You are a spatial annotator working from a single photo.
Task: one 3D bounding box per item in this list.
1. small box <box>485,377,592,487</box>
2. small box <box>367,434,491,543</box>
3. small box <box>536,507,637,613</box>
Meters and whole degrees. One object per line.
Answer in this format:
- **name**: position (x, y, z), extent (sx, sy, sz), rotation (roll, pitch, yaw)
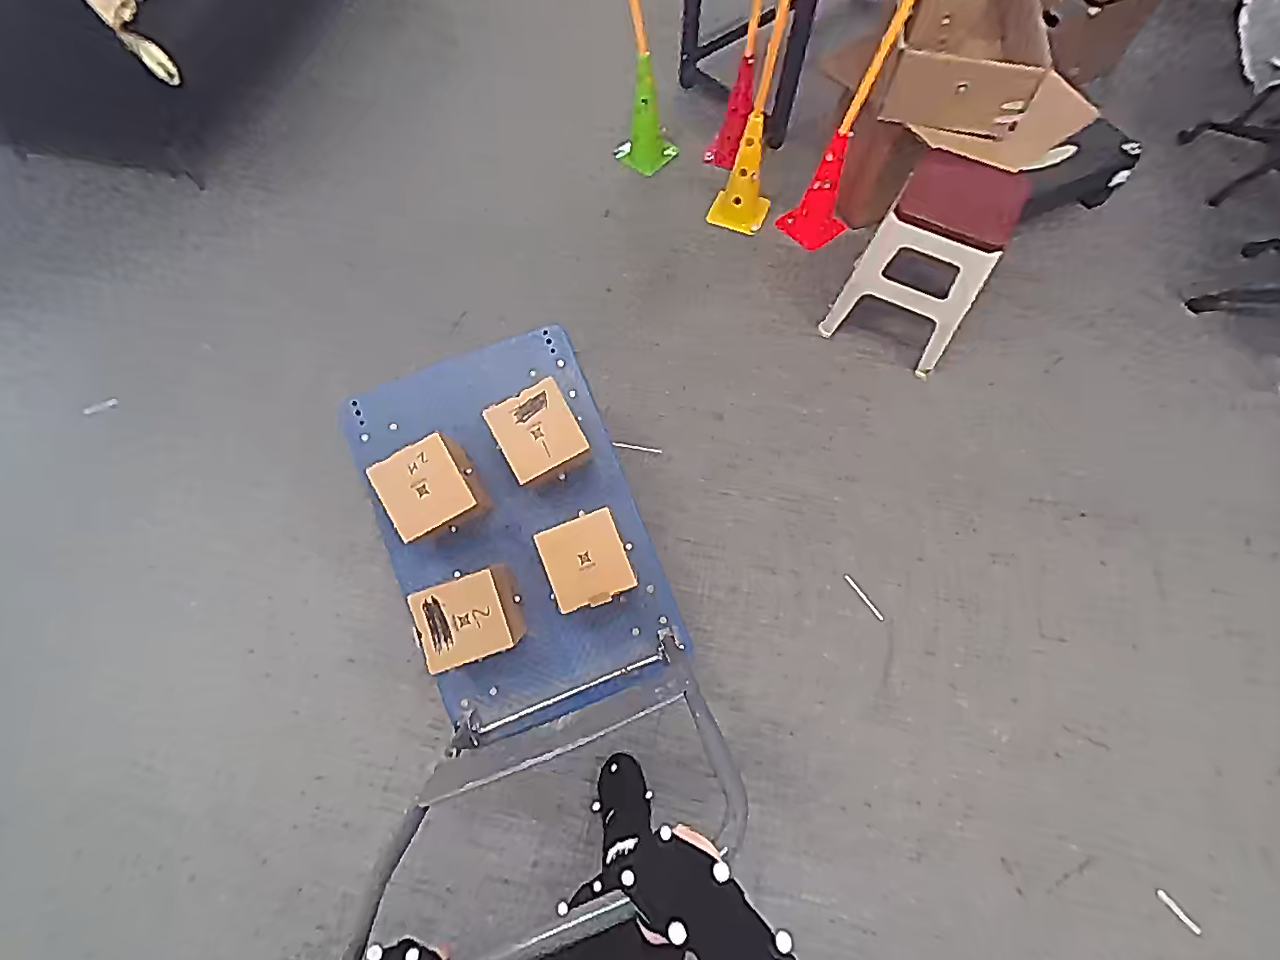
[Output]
- **small box**: position (-0.217, -0.098, 1.199), extent (0.168, 0.176, 0.179), rotation (-28, 88, -4)
- **small box**: position (-0.448, 0.021, 1.178), extent (0.168, 0.176, 0.179), rotation (-29, 87, -6)
- **small box**: position (-0.115, 0.169, 1.184), extent (0.168, 0.176, 0.179), rotation (-21, 87, -4)
